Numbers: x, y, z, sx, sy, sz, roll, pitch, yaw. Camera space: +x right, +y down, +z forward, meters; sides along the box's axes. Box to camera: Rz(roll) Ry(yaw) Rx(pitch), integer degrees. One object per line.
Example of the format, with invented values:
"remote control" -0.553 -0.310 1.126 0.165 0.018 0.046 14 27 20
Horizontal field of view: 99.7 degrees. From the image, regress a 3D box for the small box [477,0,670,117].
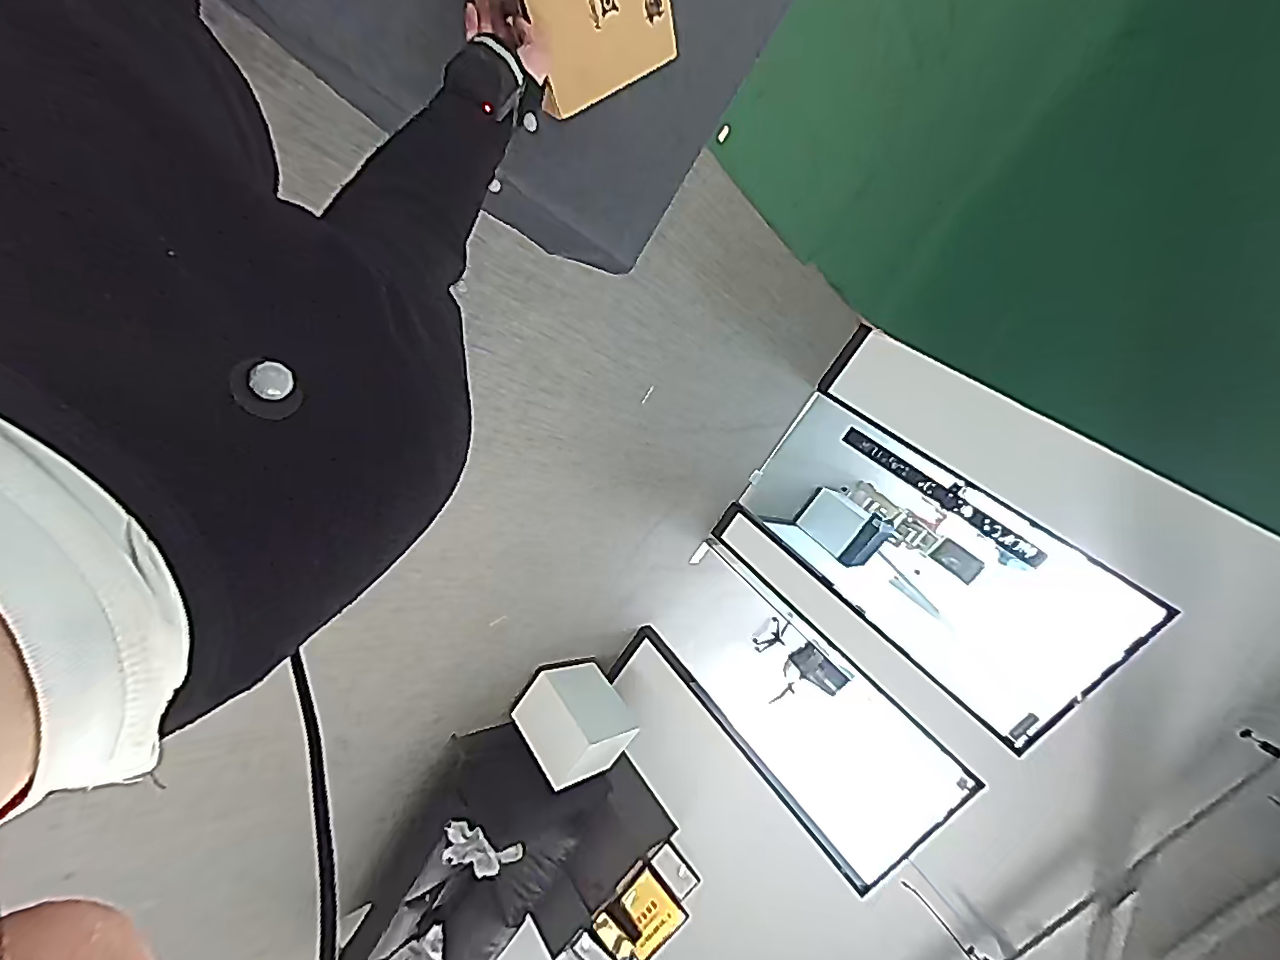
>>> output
"small box" -0.091 -0.575 0.644 0.179 0.176 0.168 -32 146 -8
